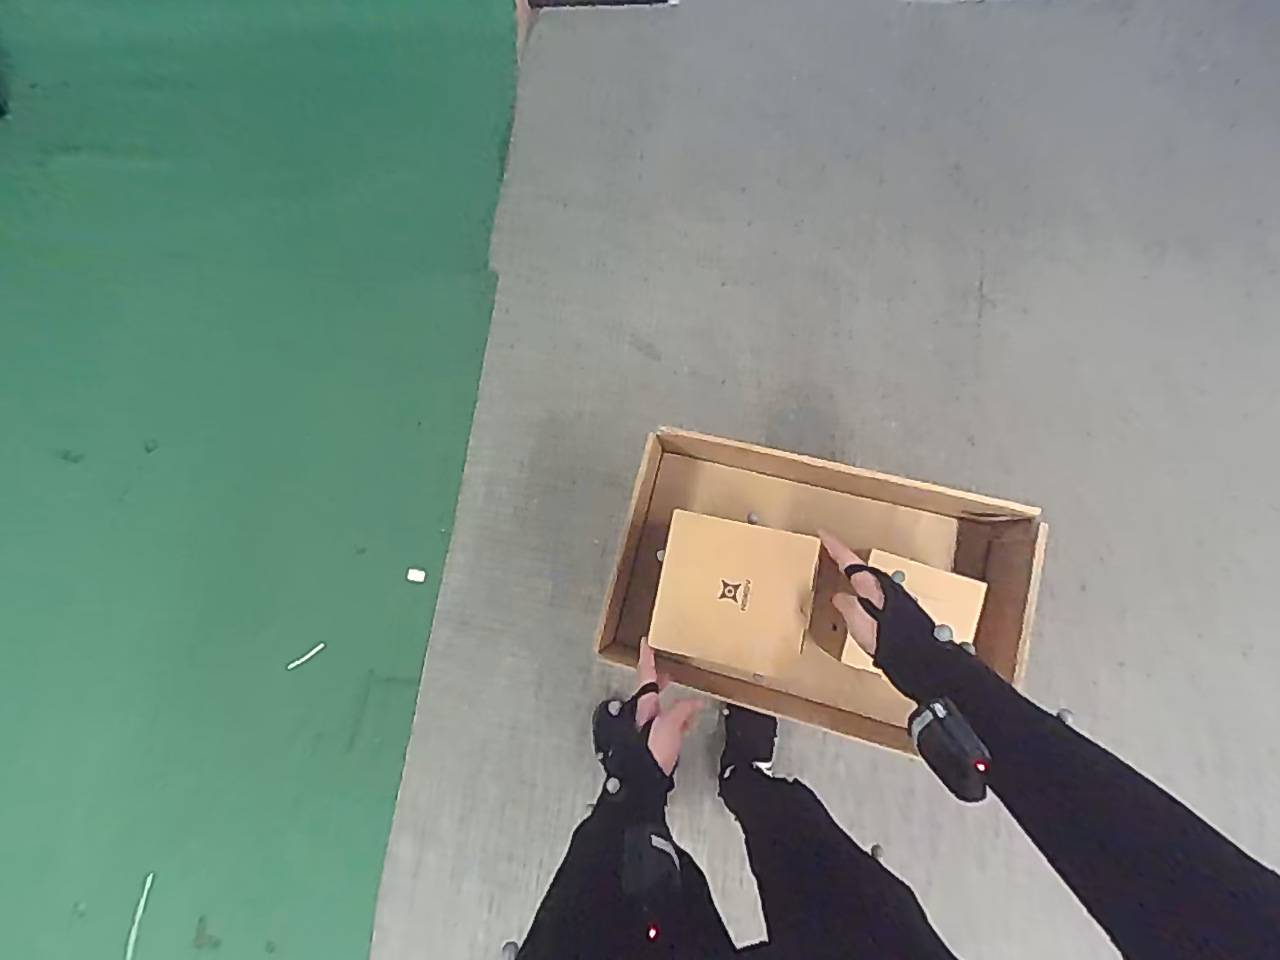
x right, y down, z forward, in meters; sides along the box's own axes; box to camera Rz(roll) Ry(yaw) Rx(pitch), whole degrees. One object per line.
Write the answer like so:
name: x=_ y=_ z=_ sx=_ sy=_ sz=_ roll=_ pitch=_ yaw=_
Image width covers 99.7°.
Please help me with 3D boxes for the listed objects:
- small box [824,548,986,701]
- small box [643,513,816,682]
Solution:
small box: x=0.402 y=0.216 z=0.854 sx=0.168 sy=0.176 sz=0.179 roll=17 pitch=85 yaw=10
small box: x=0.113 y=0.143 z=0.705 sx=0.179 sy=0.176 sz=0.168 roll=10 pitch=85 yaw=8
